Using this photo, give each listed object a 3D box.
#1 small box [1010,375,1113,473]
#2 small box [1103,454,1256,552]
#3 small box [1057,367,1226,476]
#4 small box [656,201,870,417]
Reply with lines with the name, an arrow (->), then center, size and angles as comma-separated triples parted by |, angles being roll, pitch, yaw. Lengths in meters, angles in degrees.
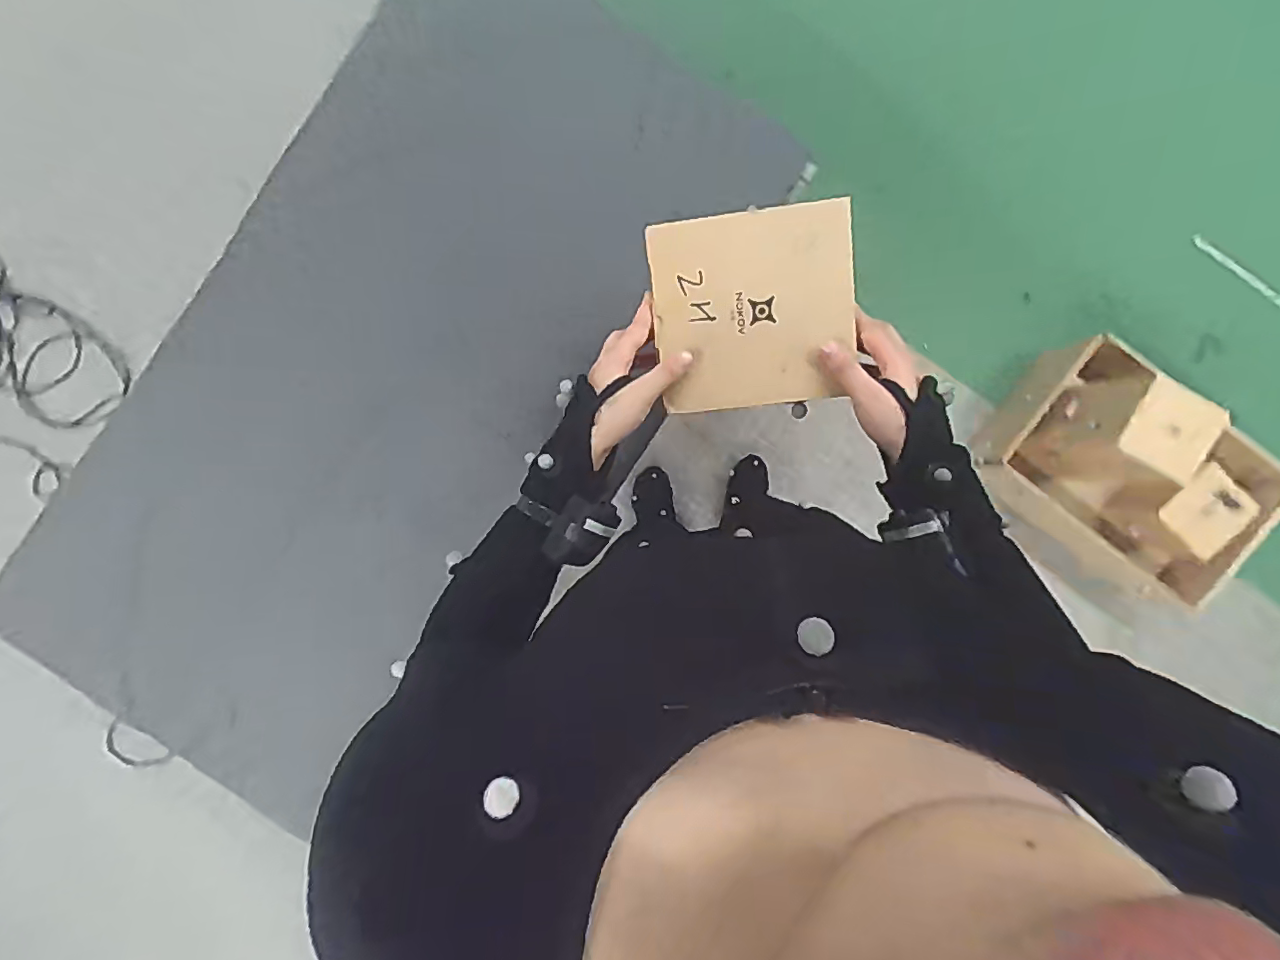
small box -> 1.072, -0.132, 1.334 | 0.179, 0.176, 0.168 | 37, 94, -1
small box -> 1.325, 0.048, 1.343 | 0.168, 0.176, 0.179 | 43, 95, -1
small box -> 1.067, -0.123, 1.169 | 0.179, 0.176, 0.168 | 27, 95, -3
small box -> 0.112, -0.156, 0.538 | 0.179, 0.176, 0.168 | -5, 99, 7
